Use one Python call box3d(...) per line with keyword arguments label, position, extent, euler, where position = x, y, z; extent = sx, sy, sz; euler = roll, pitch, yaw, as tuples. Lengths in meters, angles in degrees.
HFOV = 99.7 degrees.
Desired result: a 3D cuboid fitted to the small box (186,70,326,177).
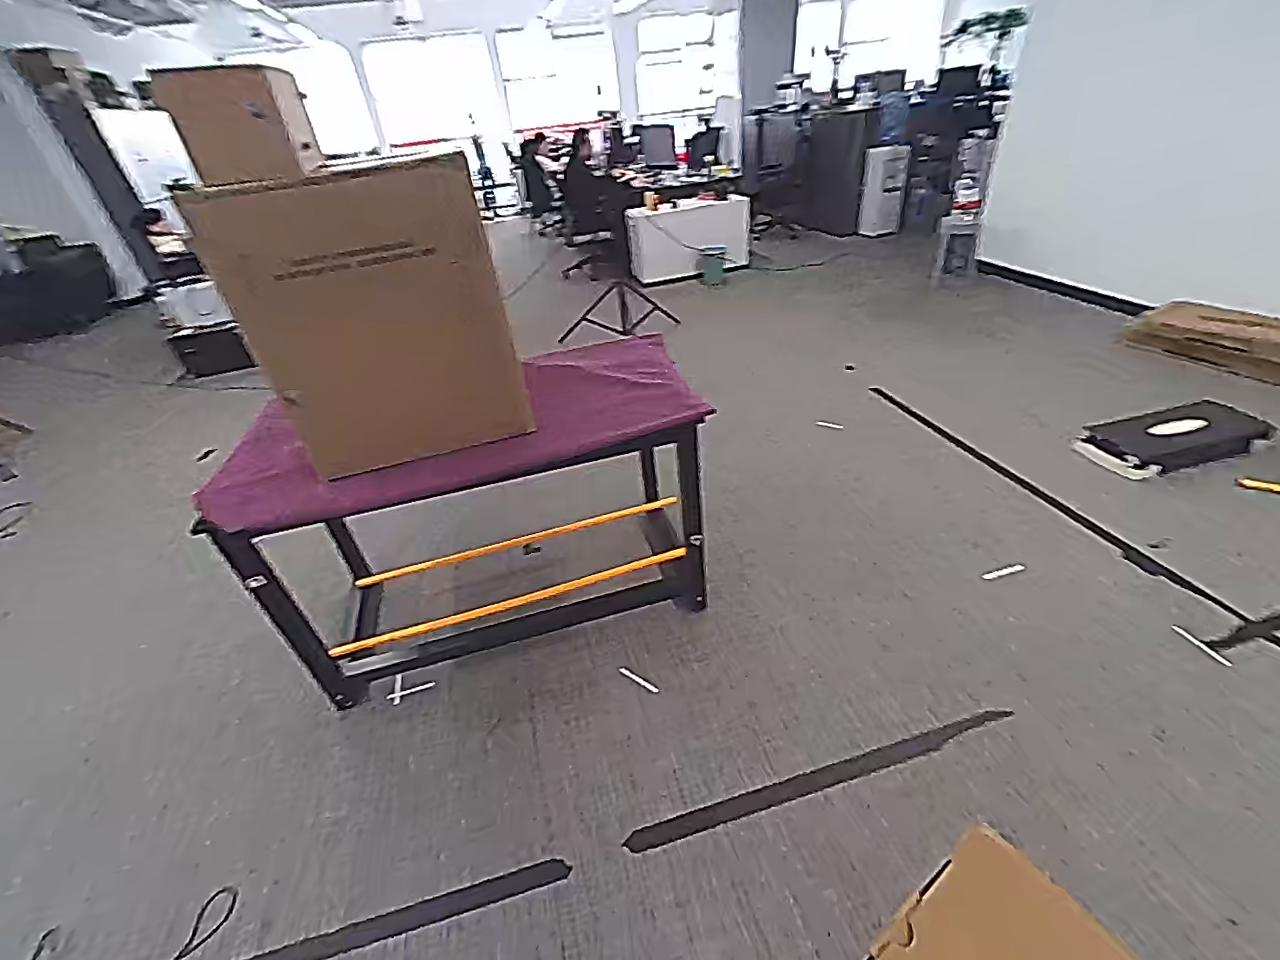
box3d(label="small box", position=(-0.784, -0.739, 1.130), extent=(0.168, 0.176, 0.179), euler=(-14, 35, -11))
